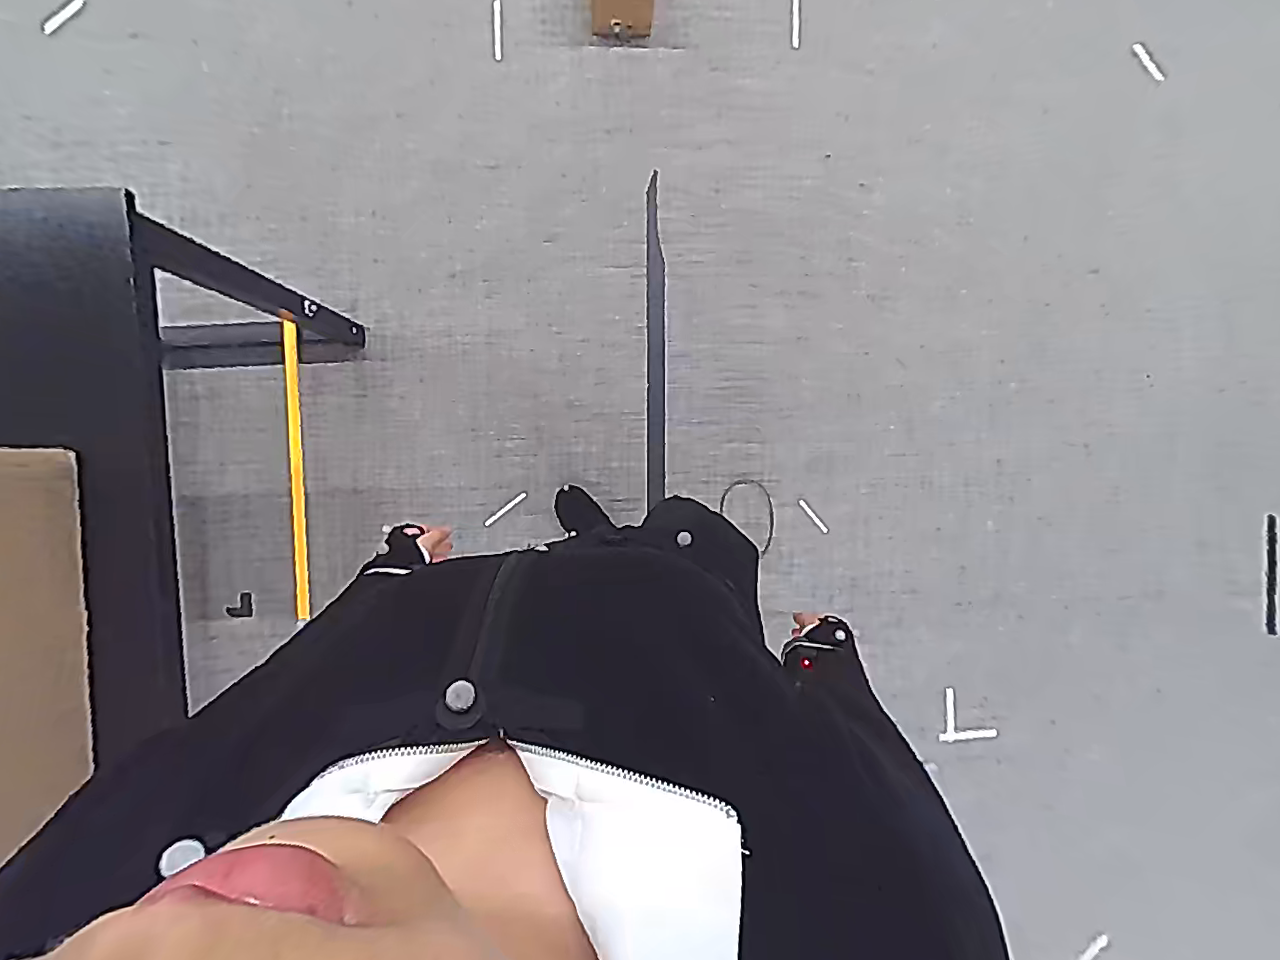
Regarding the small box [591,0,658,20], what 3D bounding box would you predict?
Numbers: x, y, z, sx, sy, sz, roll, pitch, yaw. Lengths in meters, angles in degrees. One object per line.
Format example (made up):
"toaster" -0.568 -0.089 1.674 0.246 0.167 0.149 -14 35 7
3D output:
"small box" -0.039 -1.238 1.270 0.168 0.176 0.179 -3 94 -2
